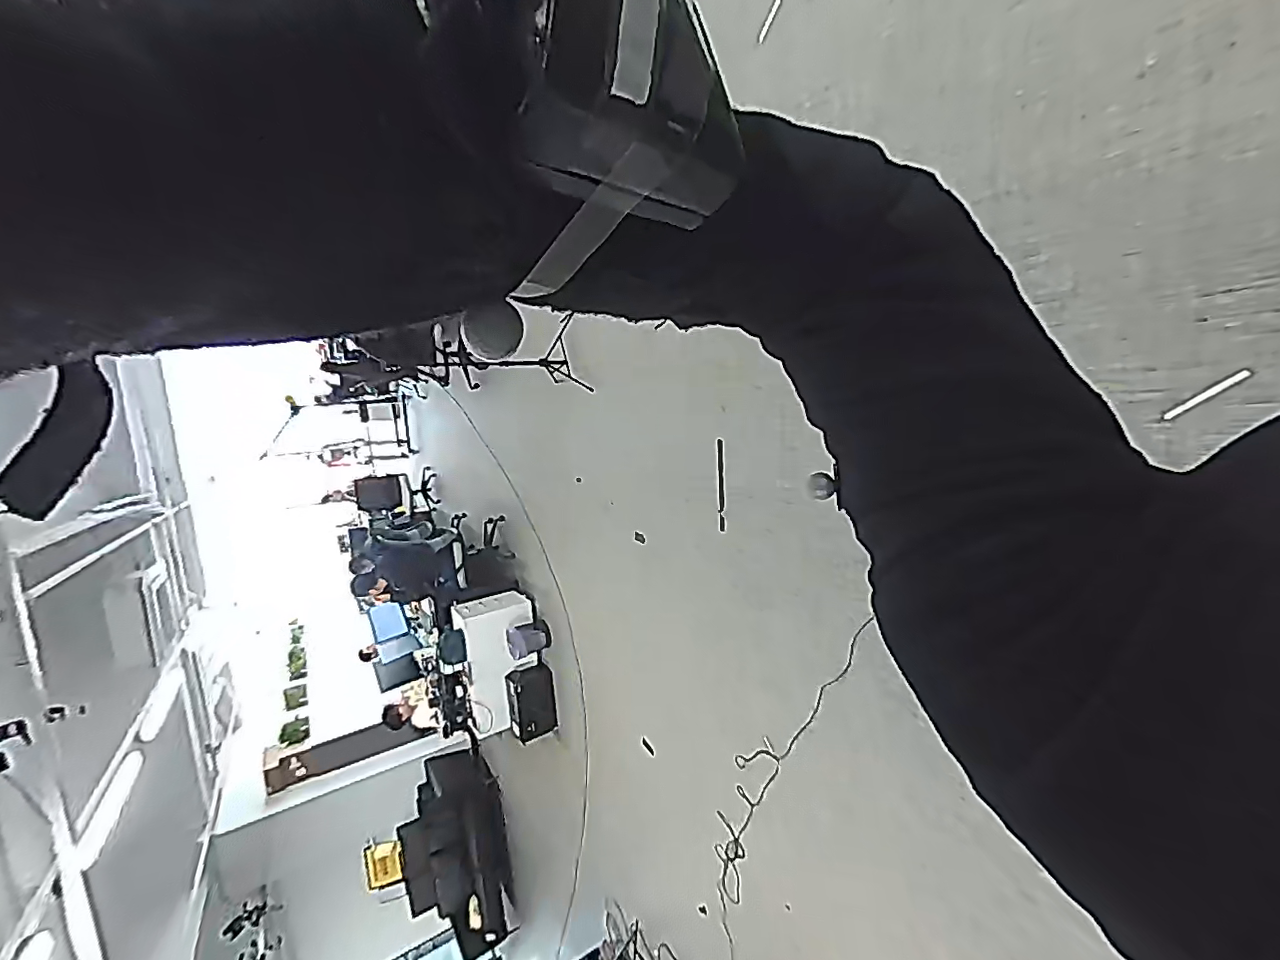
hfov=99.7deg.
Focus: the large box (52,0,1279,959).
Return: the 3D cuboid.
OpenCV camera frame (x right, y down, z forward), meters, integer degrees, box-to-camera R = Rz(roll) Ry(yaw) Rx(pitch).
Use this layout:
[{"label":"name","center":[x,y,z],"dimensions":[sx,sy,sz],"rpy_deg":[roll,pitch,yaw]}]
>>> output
[{"label":"large box","center":[0.110,0.055,0.157],"dimensions":[0.408,0.320,0.320],"rpy_deg":[15,-114,51]}]
